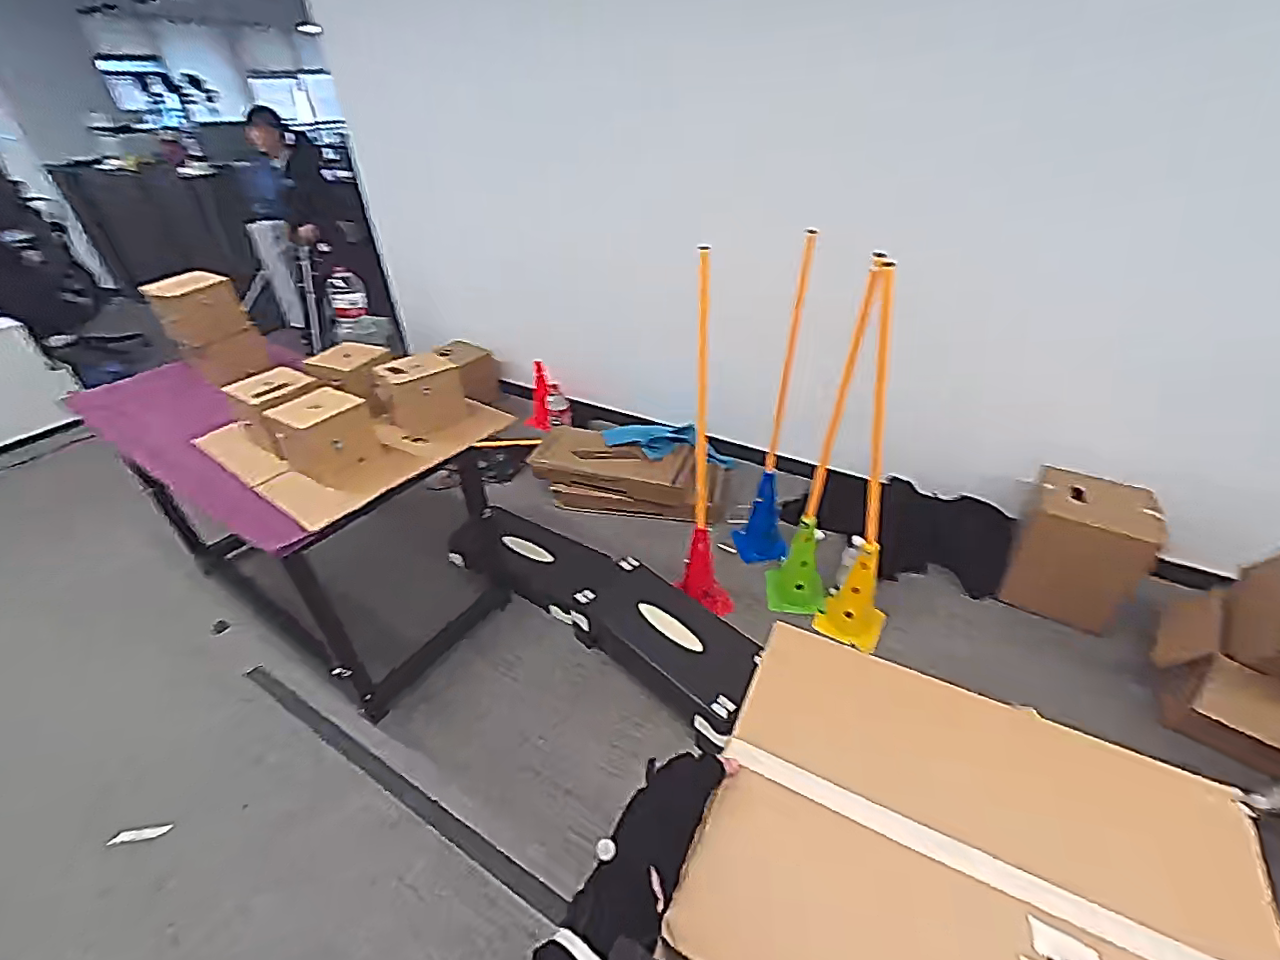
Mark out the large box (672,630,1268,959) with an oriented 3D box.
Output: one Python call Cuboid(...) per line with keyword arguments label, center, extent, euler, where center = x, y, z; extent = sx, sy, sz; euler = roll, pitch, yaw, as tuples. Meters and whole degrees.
Cuboid(label="large box", center=(0.274, 0.424, 0.549), extent=(0.408, 0.320, 0.320), euler=(17, 47, 22))
